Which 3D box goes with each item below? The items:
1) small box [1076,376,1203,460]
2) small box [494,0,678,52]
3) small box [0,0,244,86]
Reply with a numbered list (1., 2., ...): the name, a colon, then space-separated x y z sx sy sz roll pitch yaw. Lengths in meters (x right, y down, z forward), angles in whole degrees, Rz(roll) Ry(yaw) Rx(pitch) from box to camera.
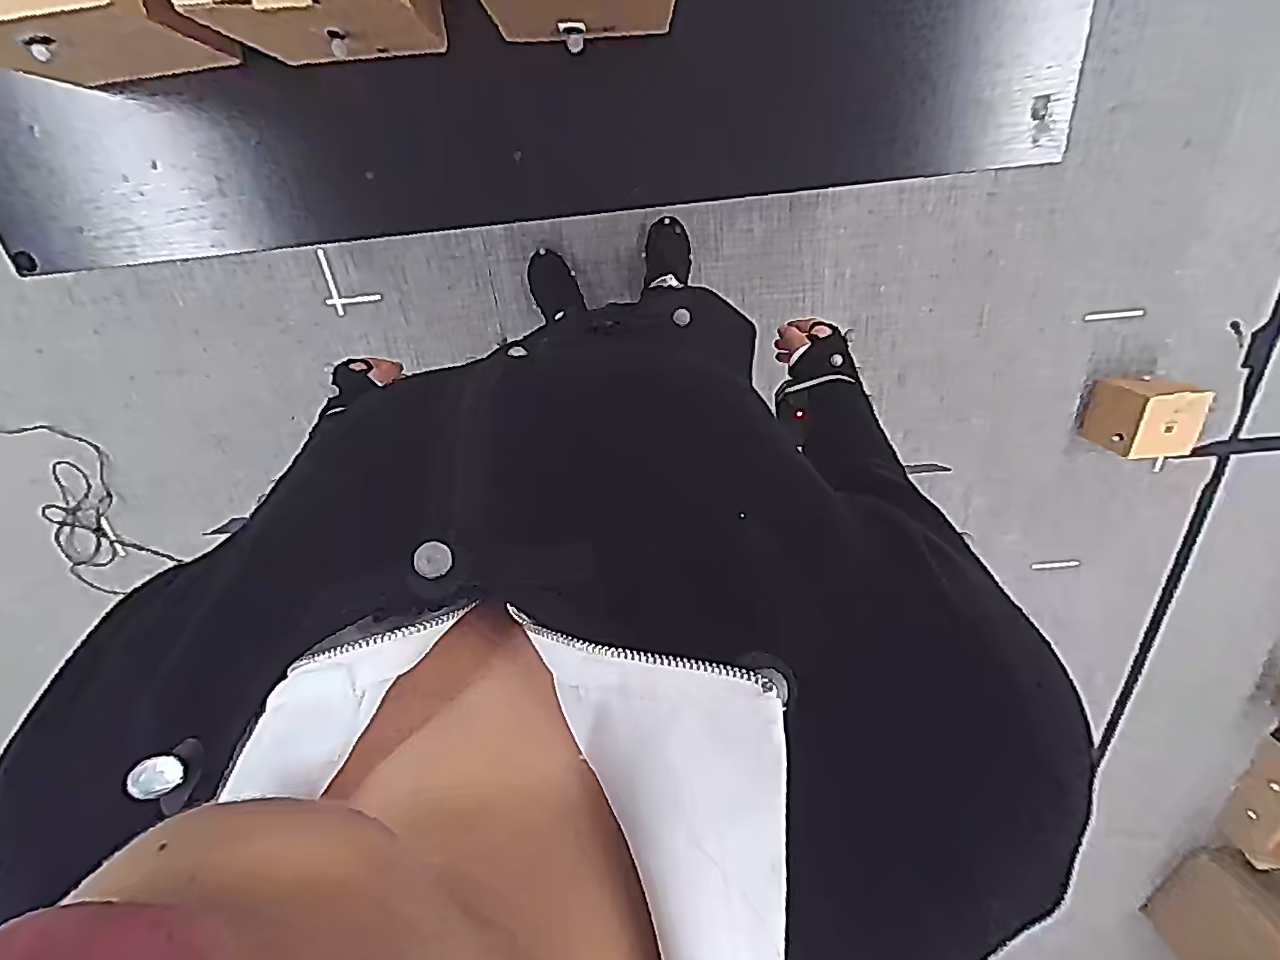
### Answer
1. small box: 1.339 -0.171 1.468 0.168 0.176 0.179 -4 116 0
2. small box: -0.055 -0.496 0.454 0.168 0.176 0.179 -4 116 1
3. small box: -0.494 -0.455 0.453 0.179 0.176 0.168 -8 116 0
